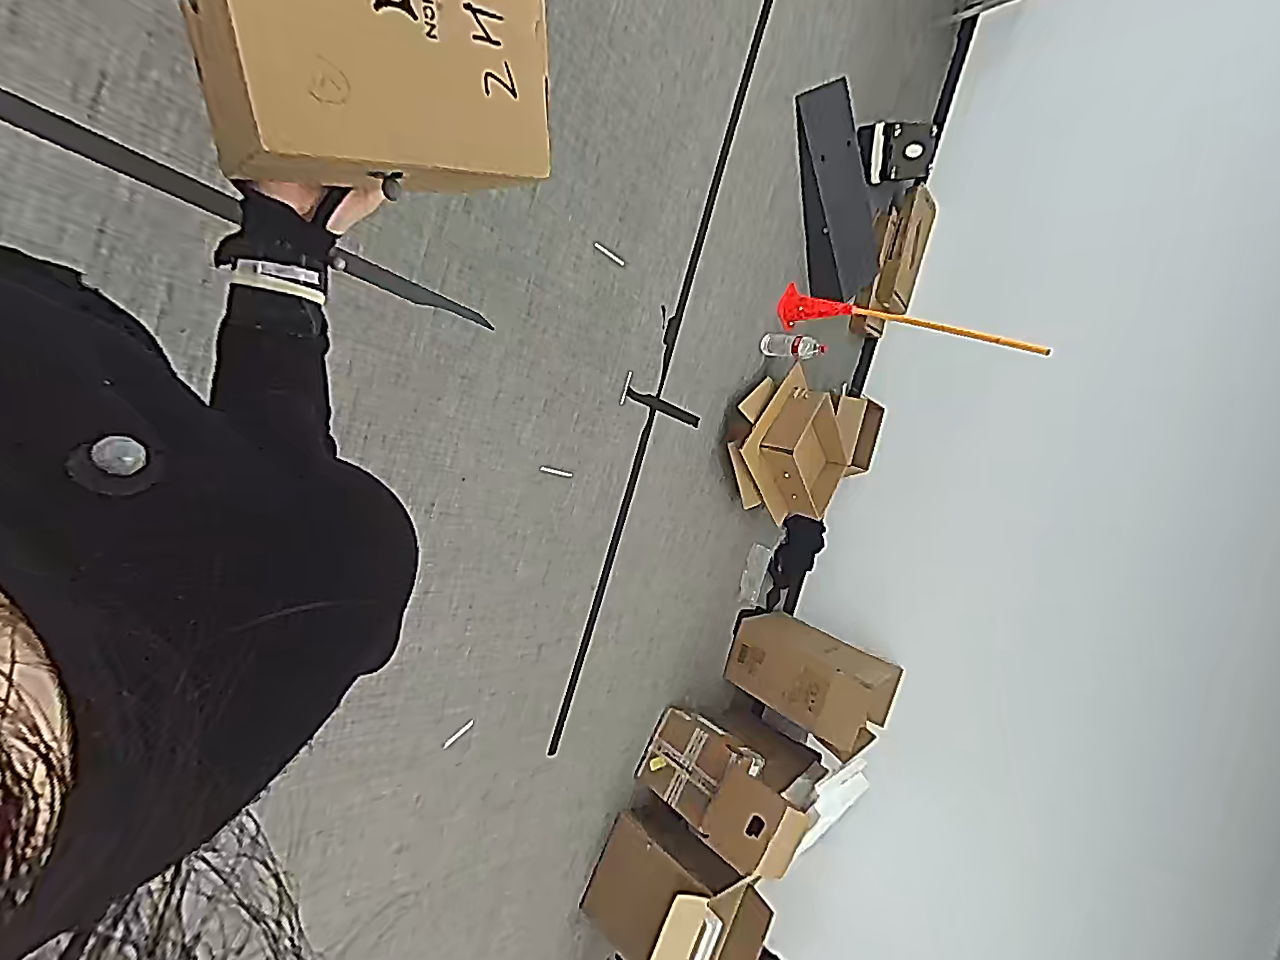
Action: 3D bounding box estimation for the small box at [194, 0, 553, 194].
[{"bbox_3d":[-0.178,-0.289,0.358,0.179,0.176,0.168,-19,121,-37],"label":"small box"}]
